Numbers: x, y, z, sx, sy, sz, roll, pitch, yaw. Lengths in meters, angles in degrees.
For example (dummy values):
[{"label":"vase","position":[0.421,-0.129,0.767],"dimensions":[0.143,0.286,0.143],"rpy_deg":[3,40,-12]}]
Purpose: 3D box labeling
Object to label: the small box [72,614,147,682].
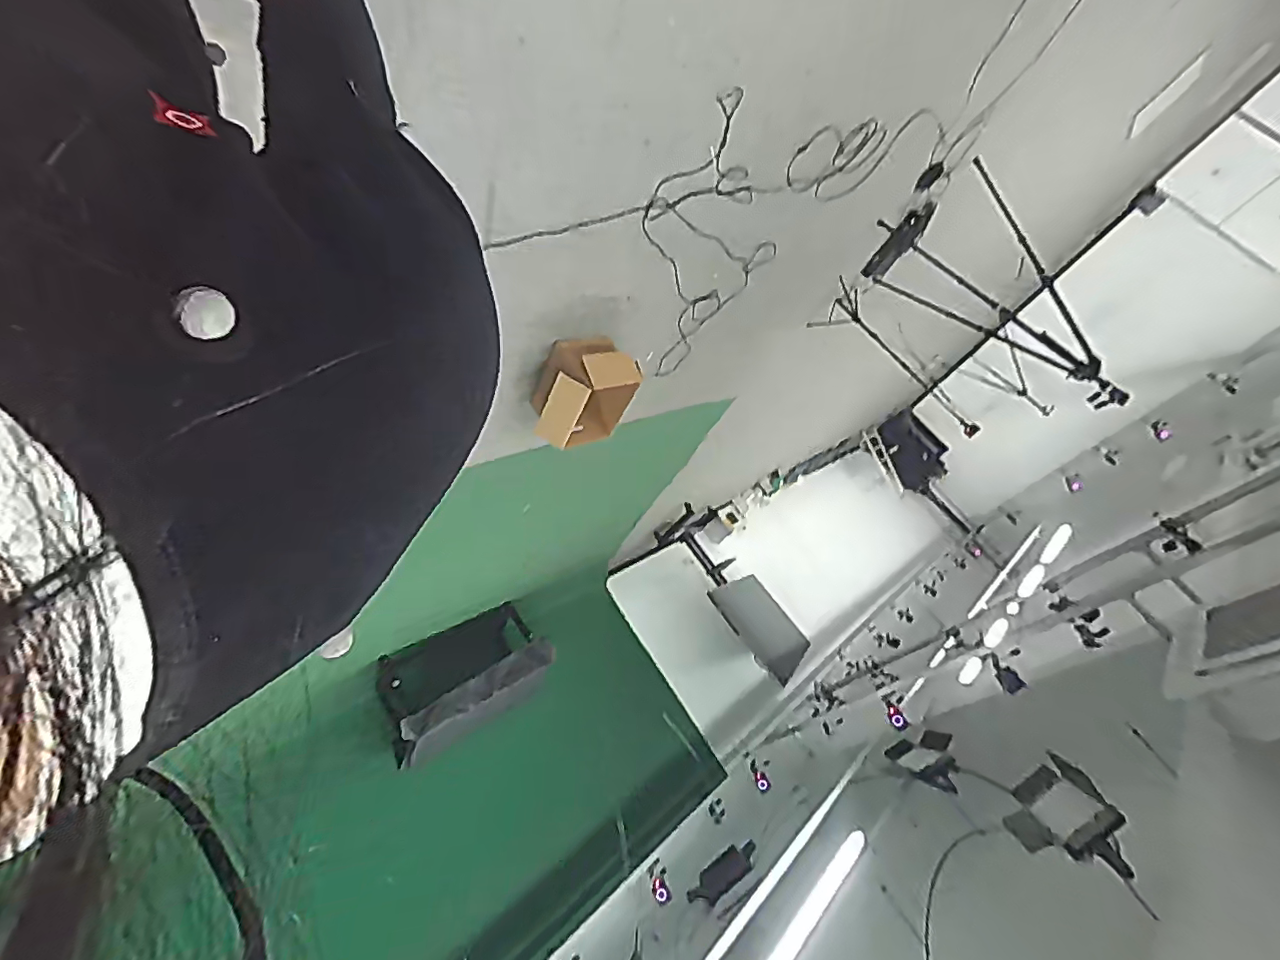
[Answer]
[{"label":"small box","position":[-2.127,0.669,2.165],"dimensions":[0.179,0.176,0.168],"rpy_deg":[-21,157,-41]}]
